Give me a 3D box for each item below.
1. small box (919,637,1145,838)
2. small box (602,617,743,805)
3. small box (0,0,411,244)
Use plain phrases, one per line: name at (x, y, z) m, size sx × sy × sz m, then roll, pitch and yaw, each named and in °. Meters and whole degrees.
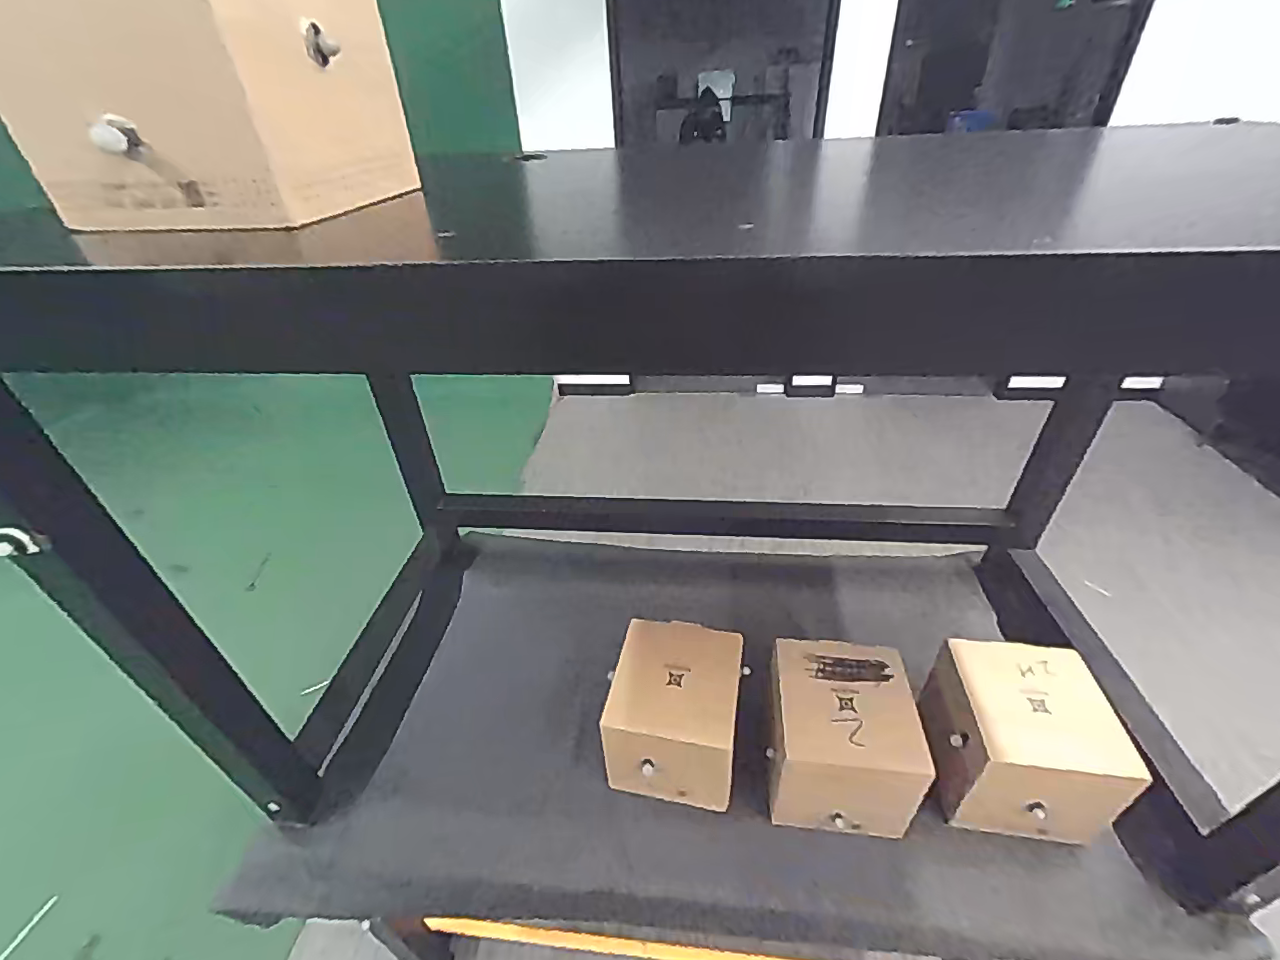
small box at (0.492, 0.338, 0.715) m, size 0.168 × 0.176 × 0.179 m, roll 4°, pitch 35°, yaw 9°
small box at (0.054, 0.327, 0.769) m, size 0.168 × 0.176 × 0.179 m, roll 5°, pitch 36°, yaw 12°
small box at (-0.282, -0.271, 0.371) m, size 0.168 × 0.176 × 0.179 m, roll 2°, pitch 37°, yaw 7°
